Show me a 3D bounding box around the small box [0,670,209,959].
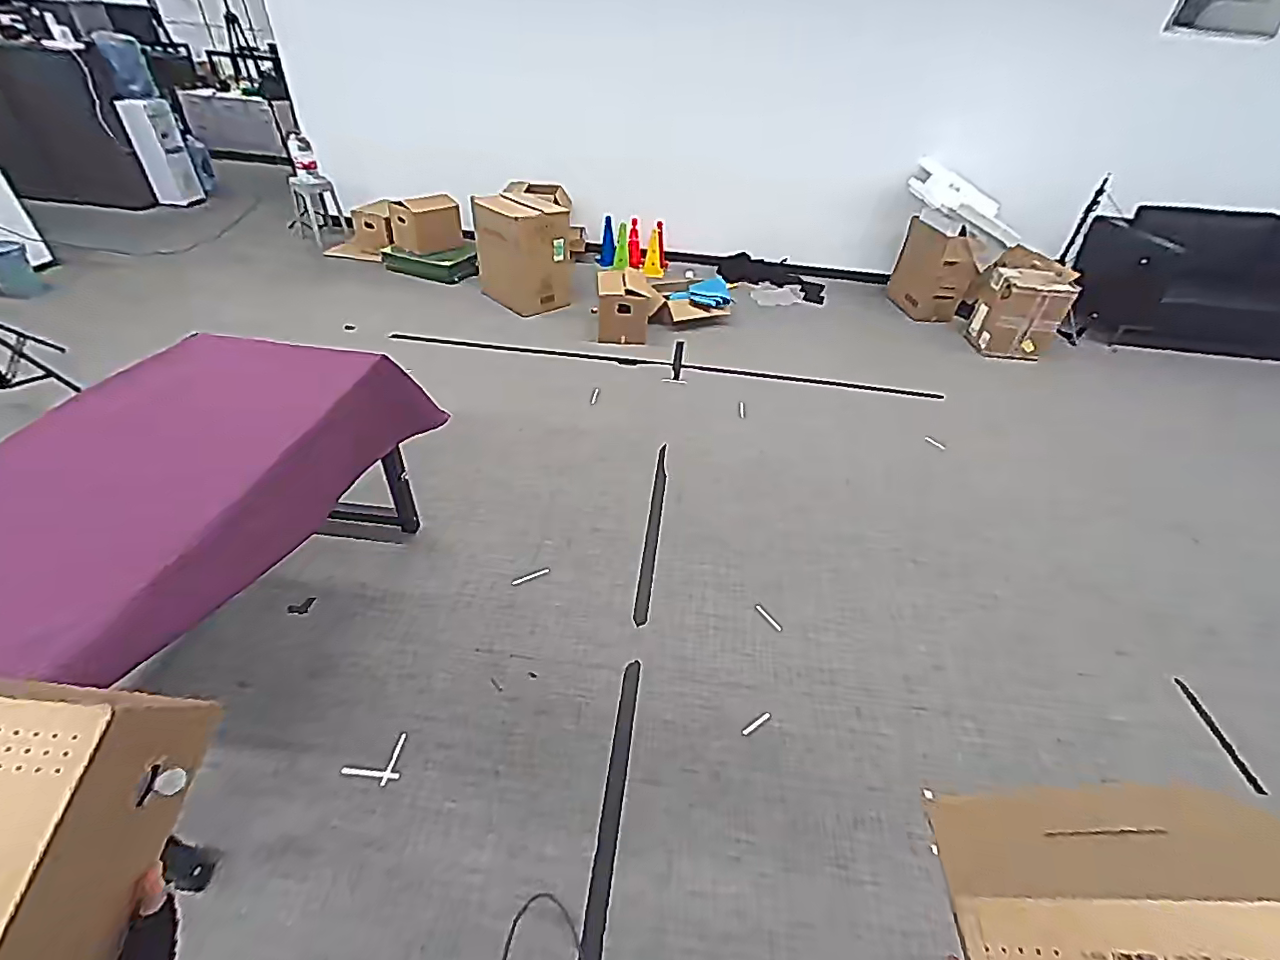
[{"bbox_3d":[-0.344,0.173,0.245,0.168,0.179,0.176,17,63,-18],"label":"small box"}]

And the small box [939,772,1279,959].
[{"bbox_3d":[0.258,0.253,0.255,0.168,0.179,0.176,-15,70,20],"label":"small box"}]
